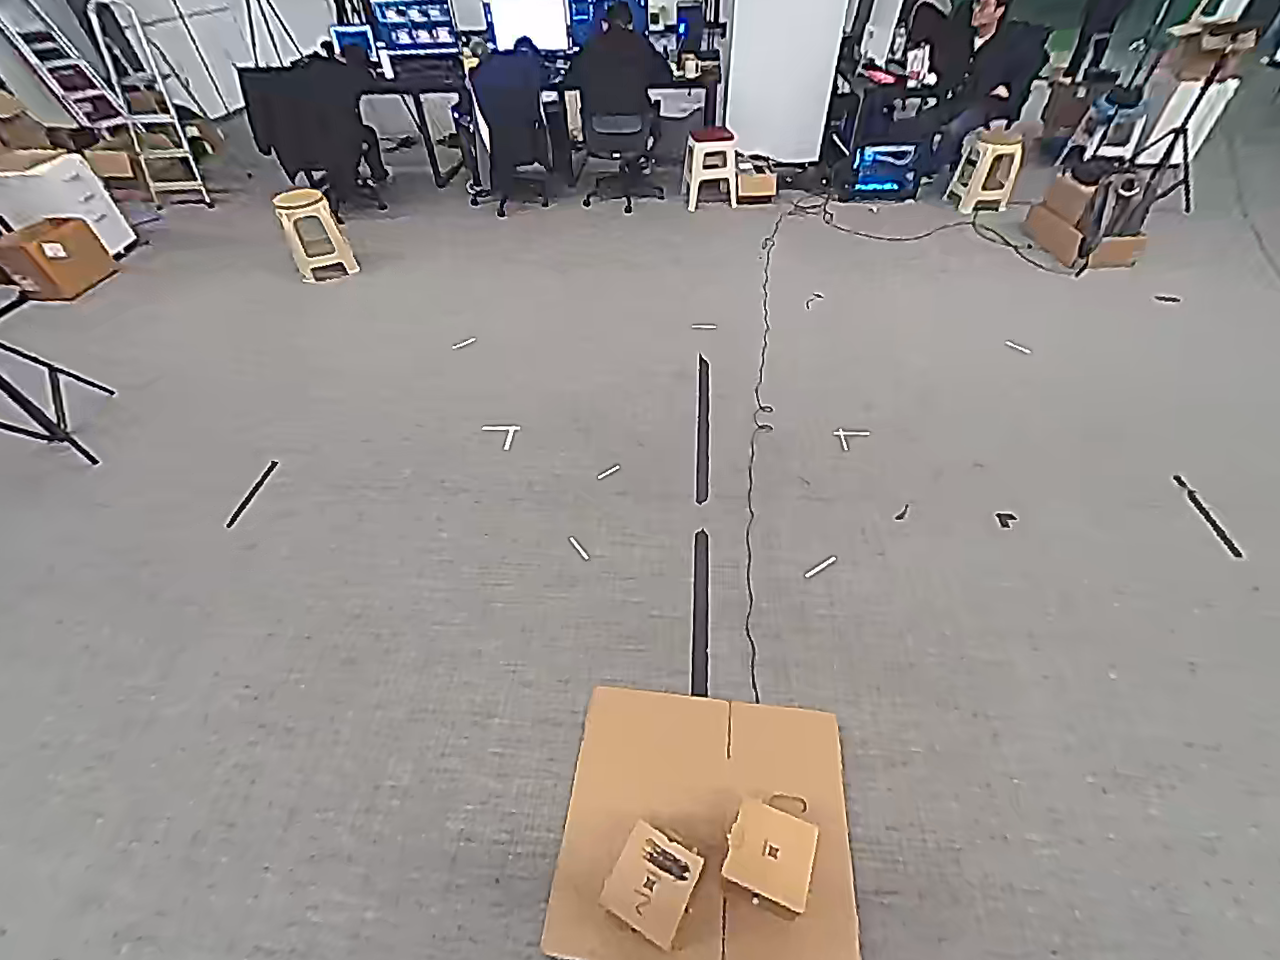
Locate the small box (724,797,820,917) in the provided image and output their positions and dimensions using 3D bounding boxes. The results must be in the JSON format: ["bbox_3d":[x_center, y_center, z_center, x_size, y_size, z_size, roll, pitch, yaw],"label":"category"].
[{"bbox_3d":[0.298,0.863,1.235,0.179,0.176,0.168,13,50,20],"label":"small box"}]
